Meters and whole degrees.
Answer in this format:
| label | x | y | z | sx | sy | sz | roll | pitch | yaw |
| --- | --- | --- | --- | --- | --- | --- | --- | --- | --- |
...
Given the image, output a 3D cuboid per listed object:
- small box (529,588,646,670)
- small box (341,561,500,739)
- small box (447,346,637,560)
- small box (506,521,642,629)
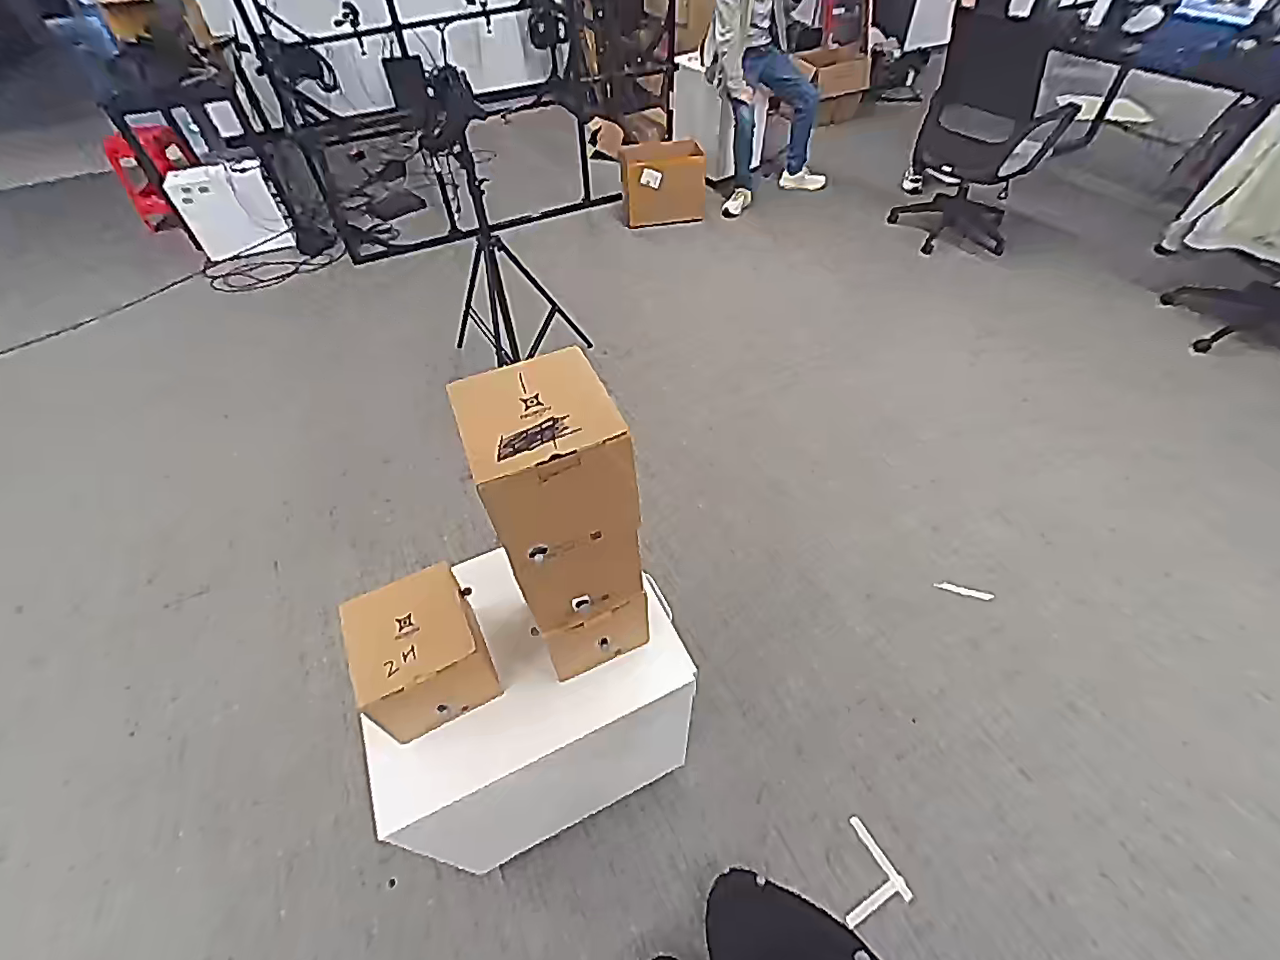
| label | x | y | z | sx | sy | sz | roll | pitch | yaw |
| --- | --- | --- | --- | --- | --- | --- | --- | --- | --- |
| small box | -0.096 | 0.192 | 0.895 | 0.168 | 0.176 | 0.179 | -21 | 53 | -13 |
| small box | -0.334 | 0.265 | 0.840 | 0.168 | 0.176 | 0.179 | -23 | 53 | -17 |
| small box | -0.111 | -0.026 | 0.649 | 0.168 | 0.176 | 0.179 | -20 | 50 | -12 |
| small box | -0.106 | 0.080 | 0.776 | 0.168 | 0.176 | 0.179 | -21 | 52 | -13 |
